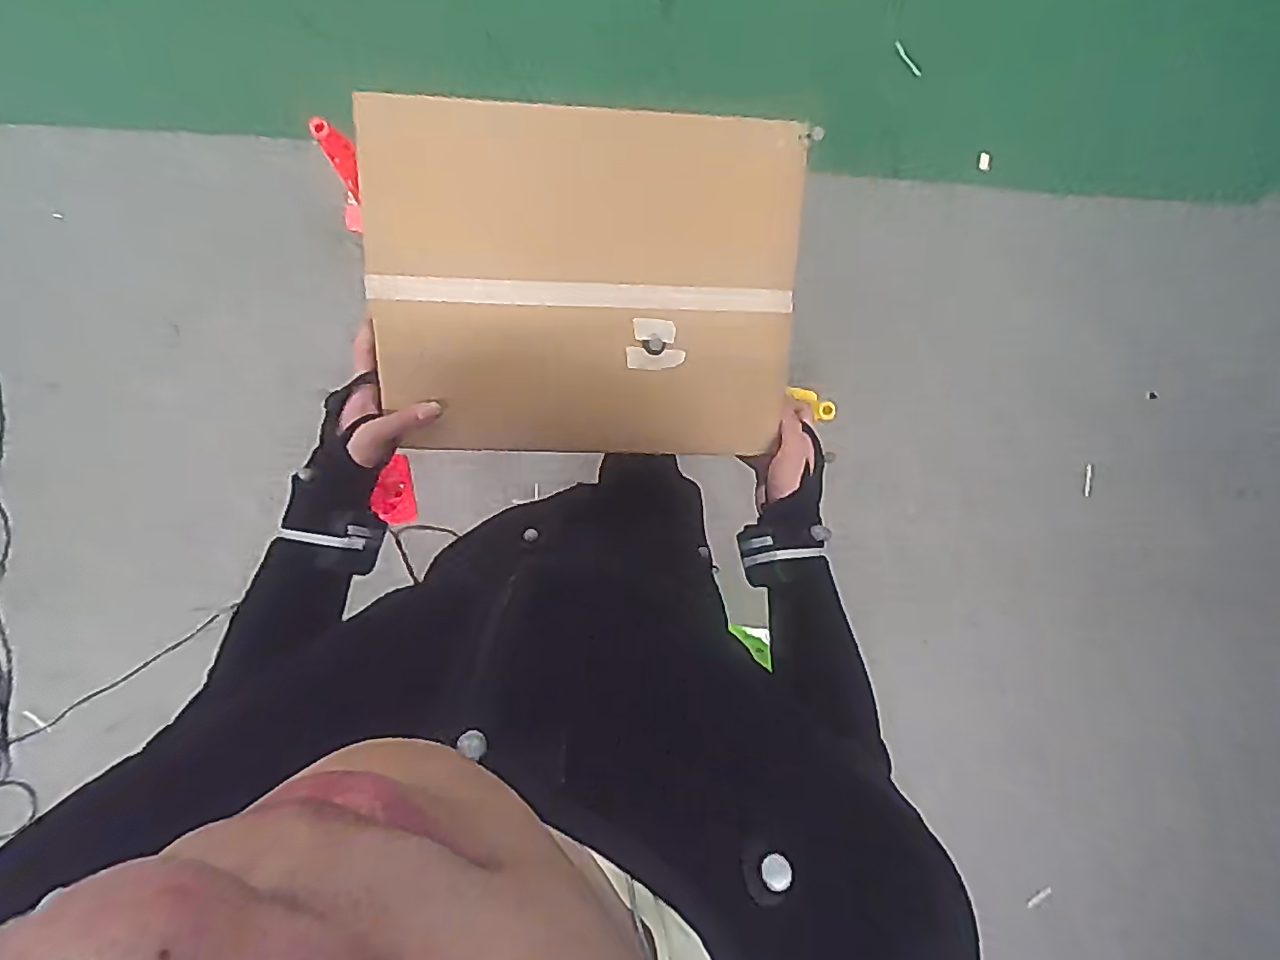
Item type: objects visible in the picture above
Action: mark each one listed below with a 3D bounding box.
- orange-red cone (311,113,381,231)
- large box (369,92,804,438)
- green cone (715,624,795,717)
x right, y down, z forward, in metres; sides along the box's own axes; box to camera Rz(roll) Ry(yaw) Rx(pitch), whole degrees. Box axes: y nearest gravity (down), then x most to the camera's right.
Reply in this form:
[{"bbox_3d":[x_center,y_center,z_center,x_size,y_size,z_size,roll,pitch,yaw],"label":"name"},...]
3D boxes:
[{"bbox_3d":[-0.705,-0.785,1.345,0.199,0.360,0.198,9,93,-3],"label":"orange-red cone"},{"bbox_3d":[-0.059,-0.232,0.672,0.408,0.320,0.320,0,106,-5],"label":"large box"},{"bbox_3d":[0.354,0.564,1.513,0.200,0.368,0.202,7,92,-5],"label":"green cone"}]
